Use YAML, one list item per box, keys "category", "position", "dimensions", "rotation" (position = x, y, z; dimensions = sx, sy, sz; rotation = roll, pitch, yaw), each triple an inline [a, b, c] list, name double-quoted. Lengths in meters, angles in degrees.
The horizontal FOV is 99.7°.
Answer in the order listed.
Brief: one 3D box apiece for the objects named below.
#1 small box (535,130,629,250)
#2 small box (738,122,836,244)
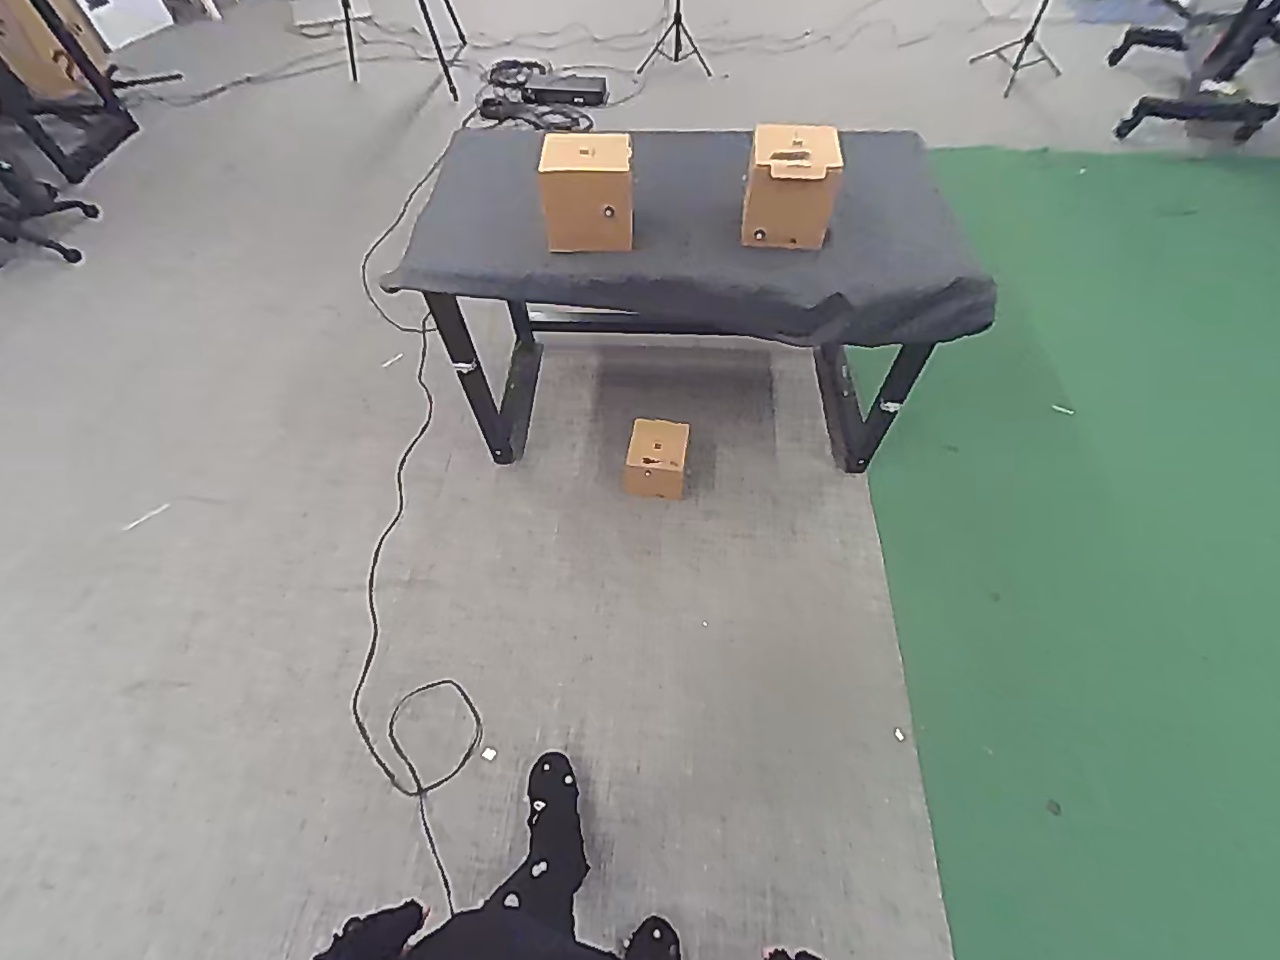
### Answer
- category: "small box"
  position: [-0.112, -0.600, 1.127]
  dimensions: [0.179, 0.176, 0.168]
  rotation: [-2, 54, 1]
- category: "small box"
  position: [0.300, -0.615, 1.127]
  dimensions: [0.168, 0.176, 0.179]
  rotation: [6, 57, 5]
